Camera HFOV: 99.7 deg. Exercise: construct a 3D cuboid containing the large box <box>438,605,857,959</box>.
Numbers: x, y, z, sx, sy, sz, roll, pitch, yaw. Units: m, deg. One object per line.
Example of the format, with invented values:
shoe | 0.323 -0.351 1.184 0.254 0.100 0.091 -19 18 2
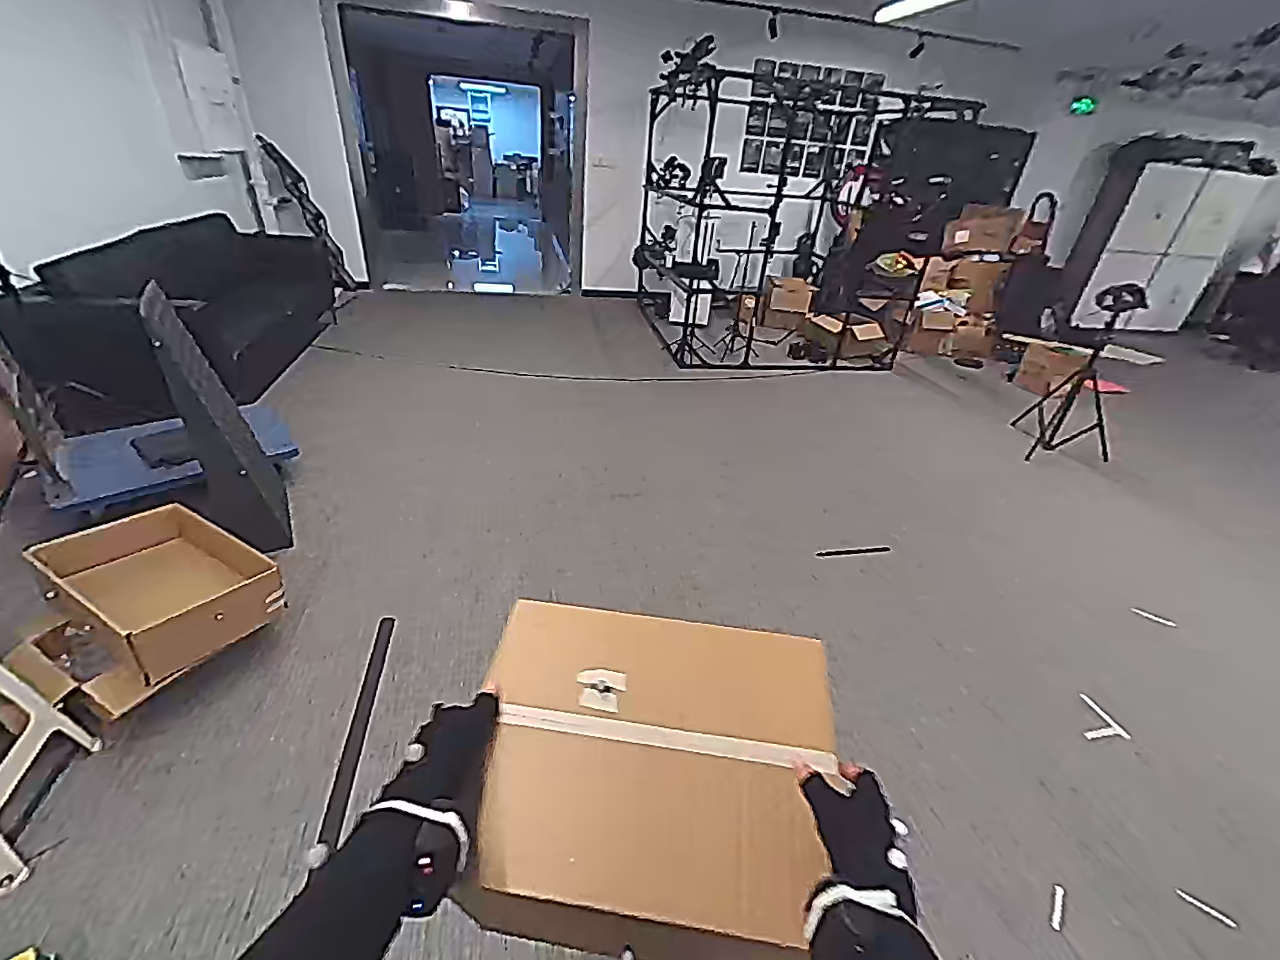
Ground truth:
large box | 0.023 0.401 0.710 0.408 0.320 0.320 6 42 7
